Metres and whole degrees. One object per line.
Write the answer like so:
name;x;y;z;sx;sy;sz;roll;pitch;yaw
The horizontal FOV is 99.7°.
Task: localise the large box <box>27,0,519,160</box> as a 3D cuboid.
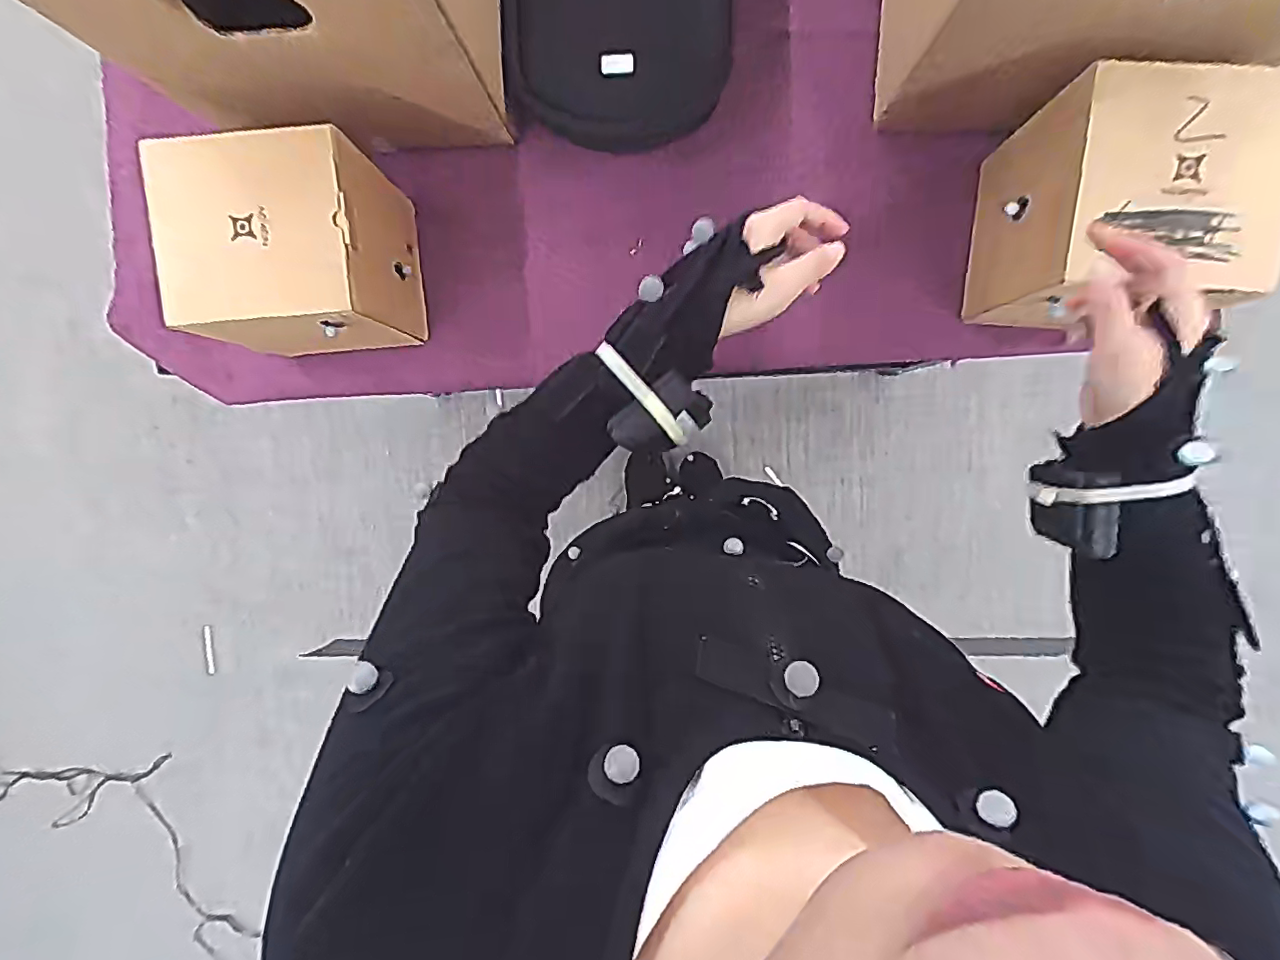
large box;-0.307;-0.567;0.472;0.320;0.320;0.408;-2;98;4
